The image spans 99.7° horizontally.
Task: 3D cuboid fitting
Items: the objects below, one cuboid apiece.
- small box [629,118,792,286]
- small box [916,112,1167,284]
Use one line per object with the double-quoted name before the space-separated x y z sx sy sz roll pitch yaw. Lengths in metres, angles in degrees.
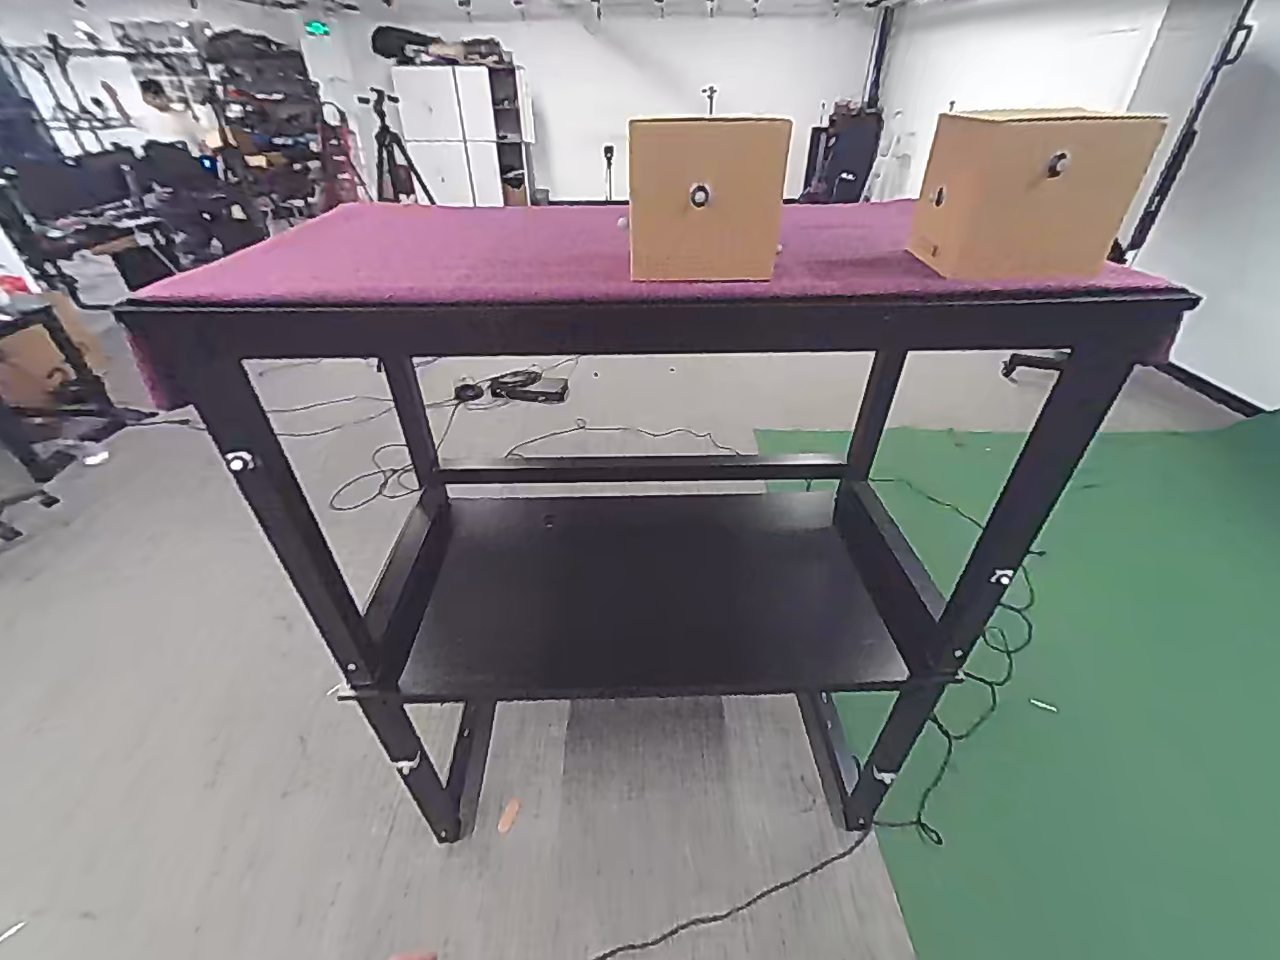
"small box" 0.077 -0.351 0.681 0.179 0.176 0.168 -1 35 1
"small box" 0.467 -0.350 0.672 0.179 0.176 0.168 1 37 4
